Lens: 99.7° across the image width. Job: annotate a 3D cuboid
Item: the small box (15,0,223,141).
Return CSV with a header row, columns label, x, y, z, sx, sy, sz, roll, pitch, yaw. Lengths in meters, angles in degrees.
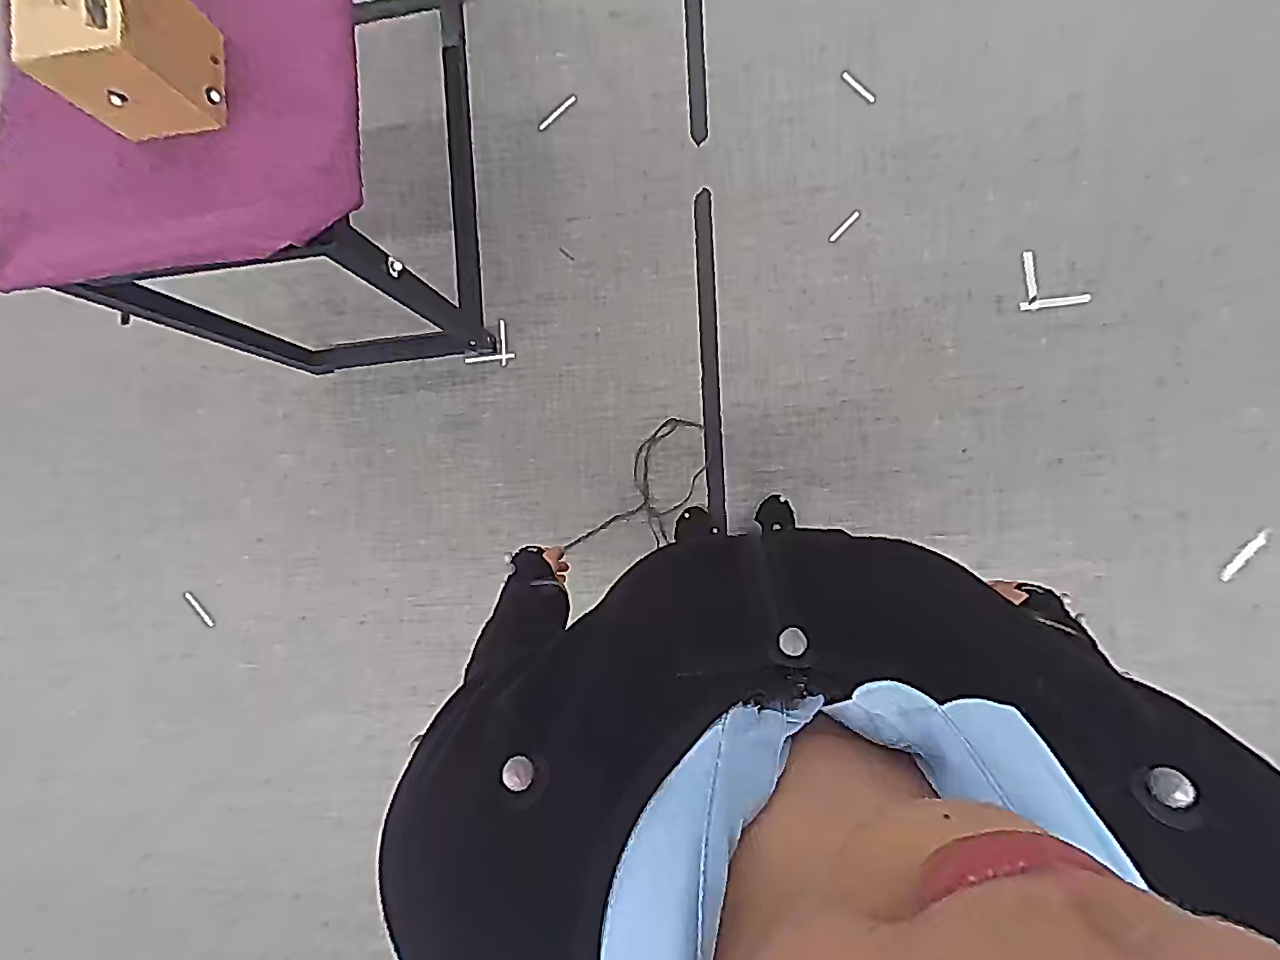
label,x,y,z,sx,sy,sz,roll,pitch,yaw
small box,-0.783,-0.661,0.831,0.179,0.176,0.168,-4,87,6
